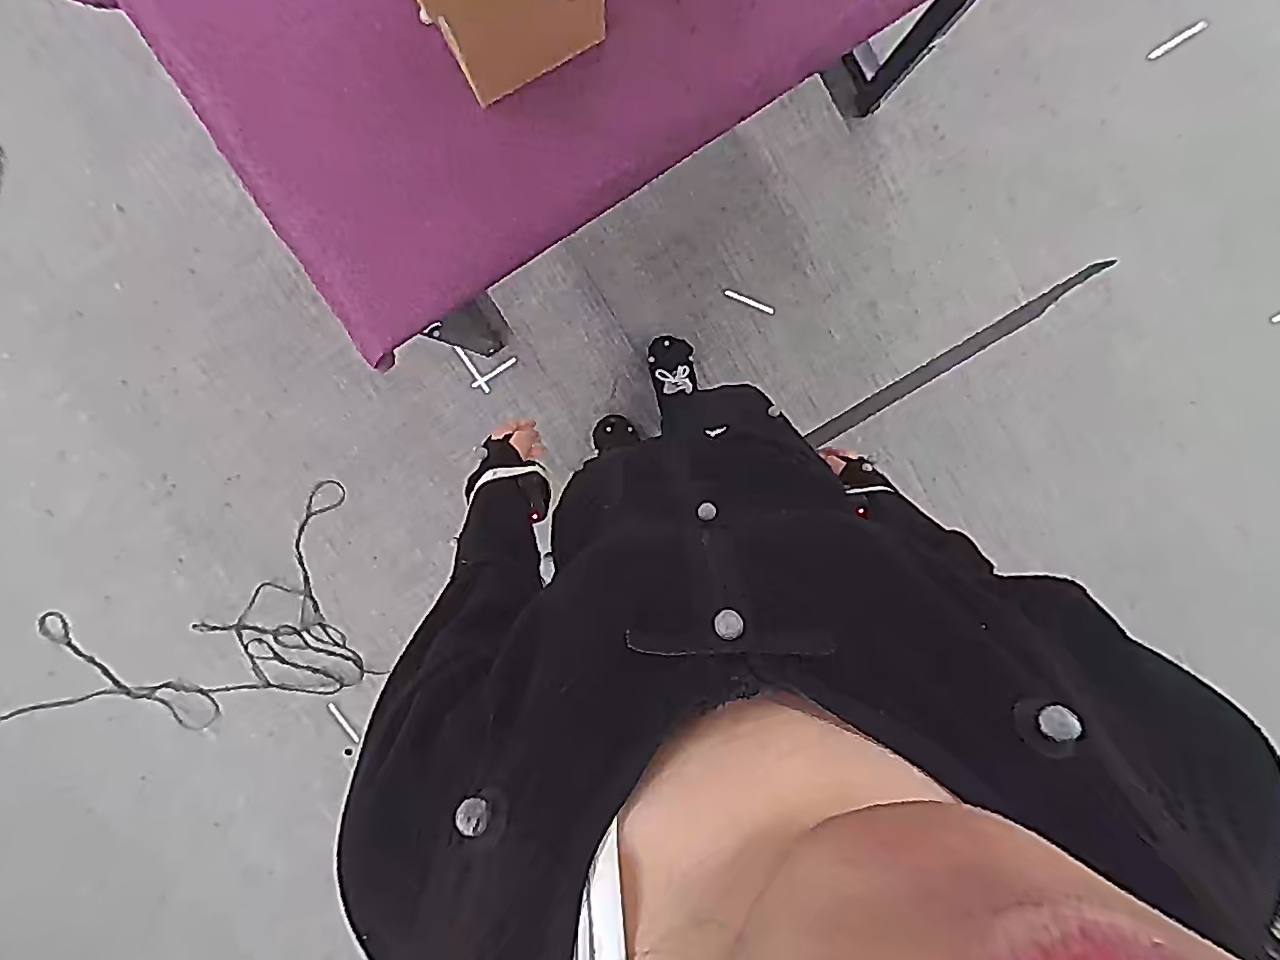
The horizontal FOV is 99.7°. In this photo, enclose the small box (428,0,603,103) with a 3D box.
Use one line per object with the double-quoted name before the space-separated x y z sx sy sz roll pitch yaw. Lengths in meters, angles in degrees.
"small box" -0.148 -0.558 0.575 0.179 0.176 0.168 -28 98 2
